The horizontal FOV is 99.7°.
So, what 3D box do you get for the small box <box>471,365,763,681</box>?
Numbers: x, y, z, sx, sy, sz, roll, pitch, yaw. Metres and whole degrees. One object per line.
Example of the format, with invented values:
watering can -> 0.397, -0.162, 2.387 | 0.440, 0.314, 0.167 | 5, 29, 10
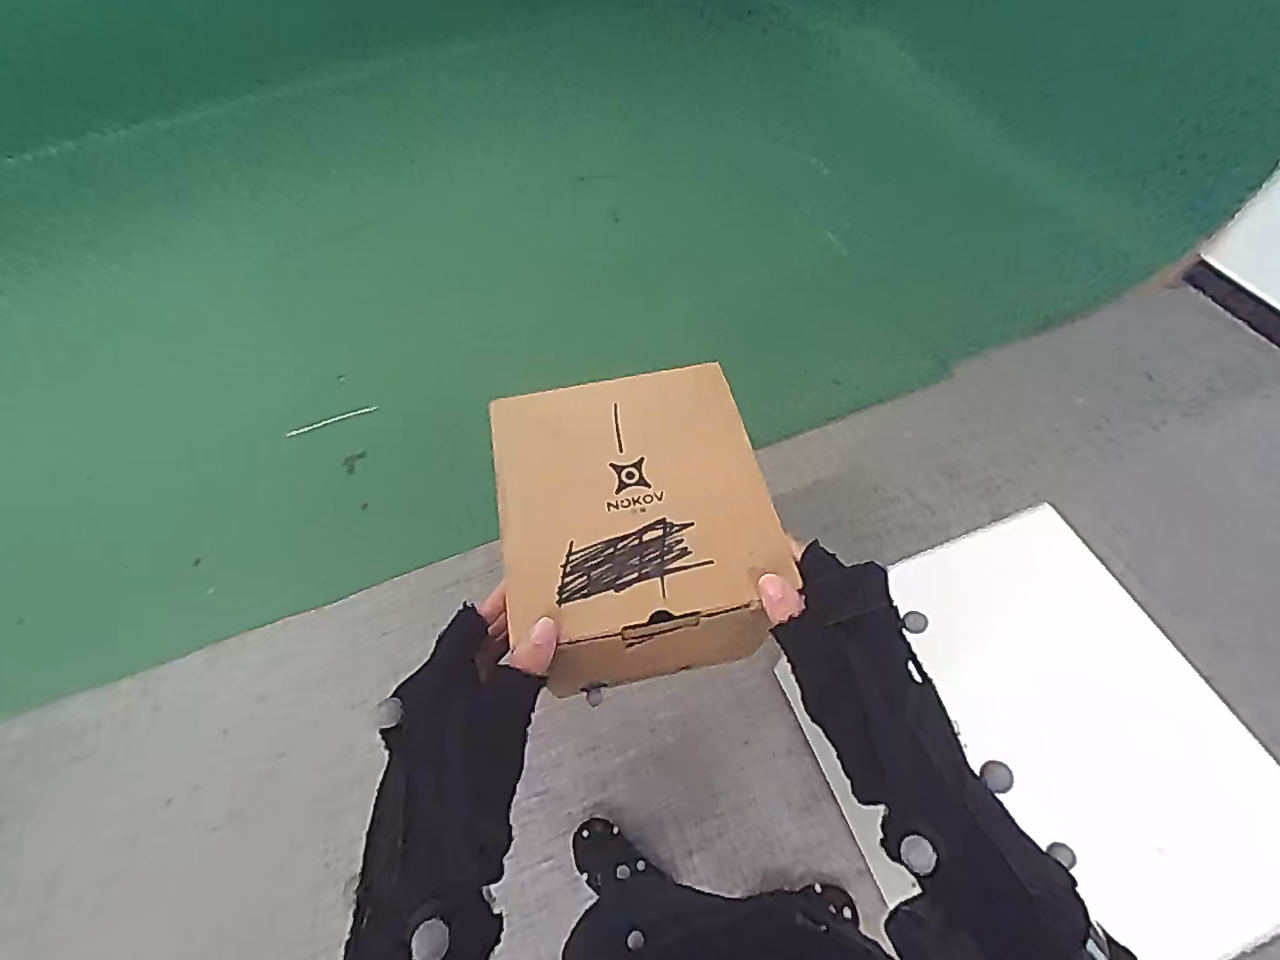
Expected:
small box -> -0.021, 0.044, 0.414 | 0.168, 0.176, 0.179 | -11, 59, -5
